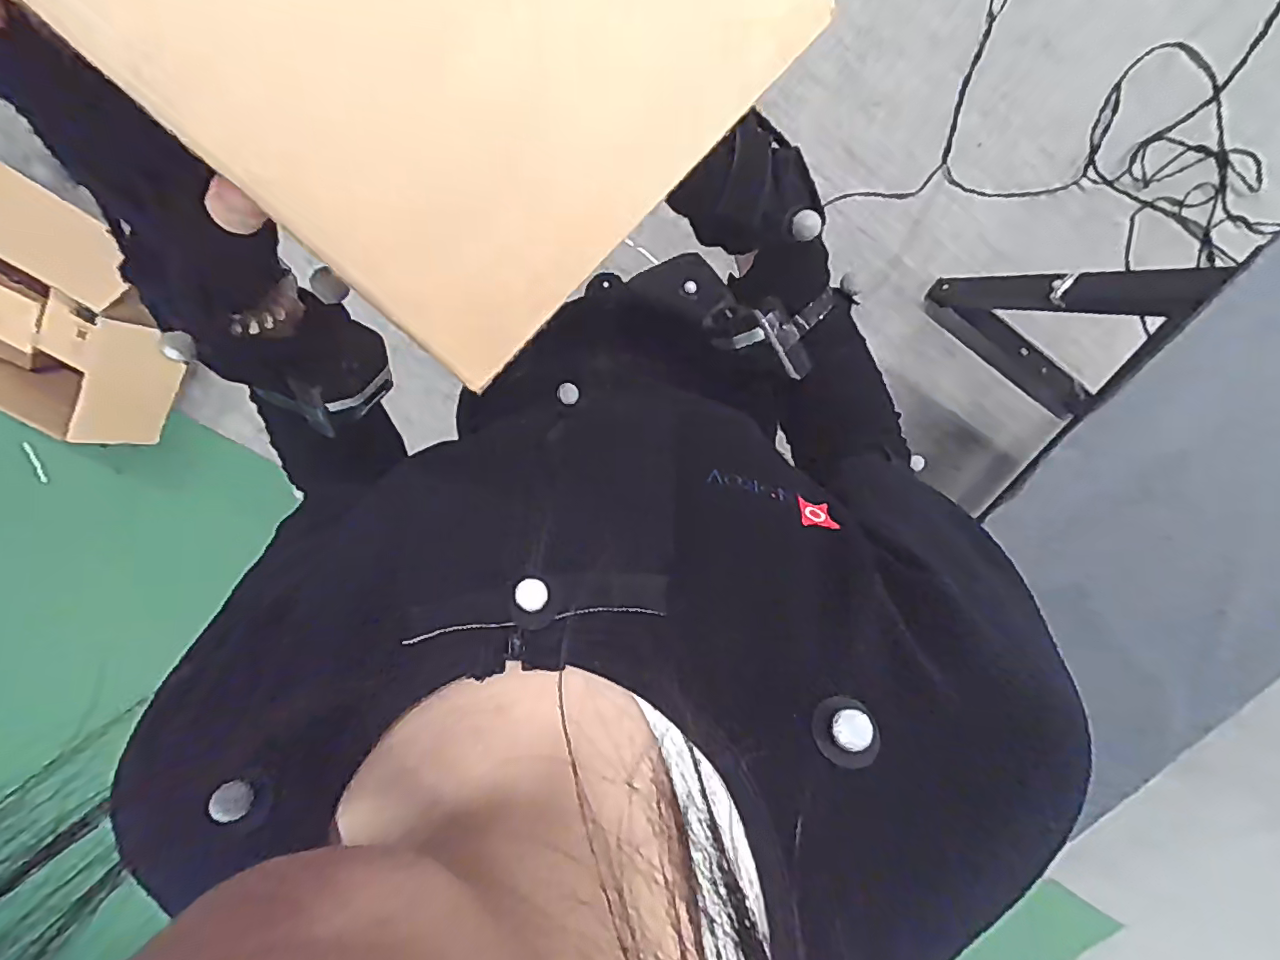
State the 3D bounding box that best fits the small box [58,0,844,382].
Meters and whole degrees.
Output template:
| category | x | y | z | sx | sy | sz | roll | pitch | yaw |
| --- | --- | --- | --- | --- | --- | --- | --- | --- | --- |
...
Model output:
| category | x | y | z | sx | sy | sz | roll | pitch | yaw |
| --- | --- | --- | --- | --- | --- | --- | --- | --- | --- |
| small box | -0.075 | -0.165 | 0.184 | 0.168 | 0.179 | 0.176 | -47 | 127 | -2 |
